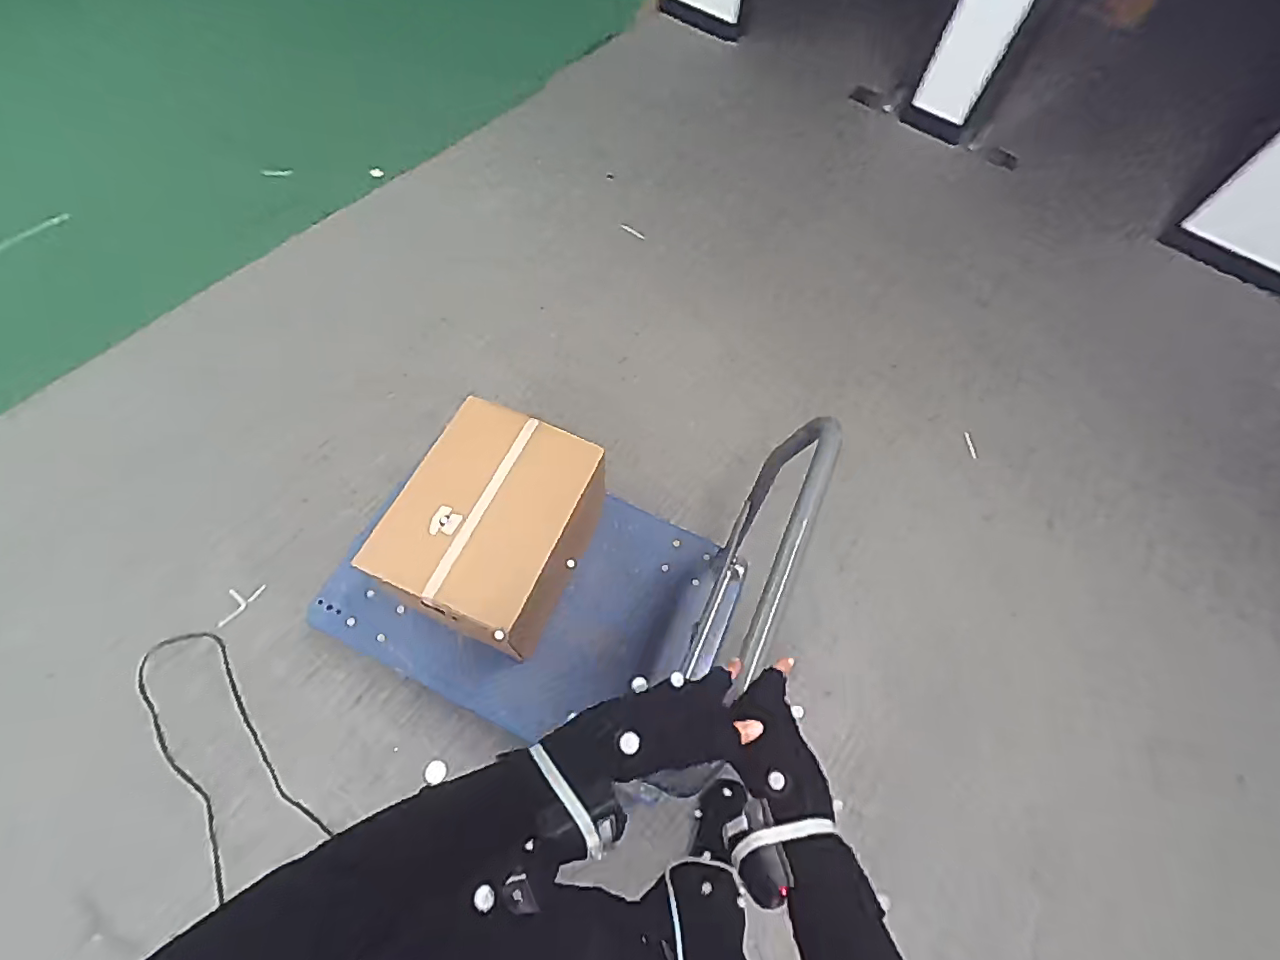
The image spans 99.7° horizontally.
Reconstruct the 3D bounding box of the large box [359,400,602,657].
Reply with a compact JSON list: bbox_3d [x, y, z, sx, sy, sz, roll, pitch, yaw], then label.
[{"bbox_3d":[-0.298,0.113,1.161,0.320,0.320,0.408,22,65,8],"label":"large box"}]
